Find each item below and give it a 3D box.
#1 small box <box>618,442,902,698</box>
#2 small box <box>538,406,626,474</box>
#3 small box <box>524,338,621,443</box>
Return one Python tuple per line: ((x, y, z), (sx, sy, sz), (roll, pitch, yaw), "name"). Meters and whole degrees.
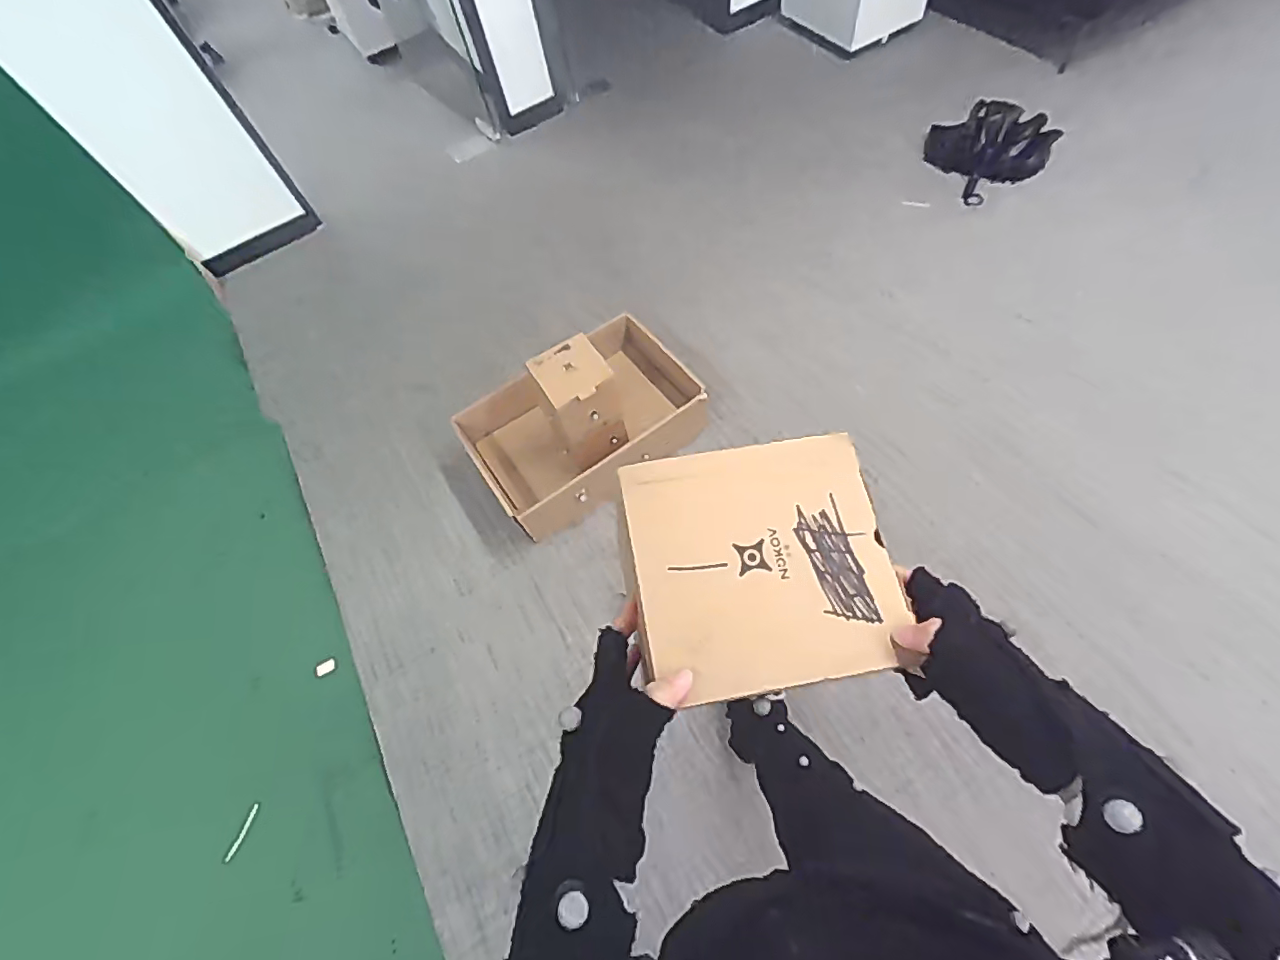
((0.078, 0.085, 0.460), (0.179, 0.176, 0.168), (-8, 67, -6), "small box")
((-0.157, -0.140, 1.512), (0.168, 0.176, 0.179), (-32, 61, -11), "small box")
((-0.164, -0.216, 1.368), (0.168, 0.176, 0.179), (-30, 62, -10), "small box")
